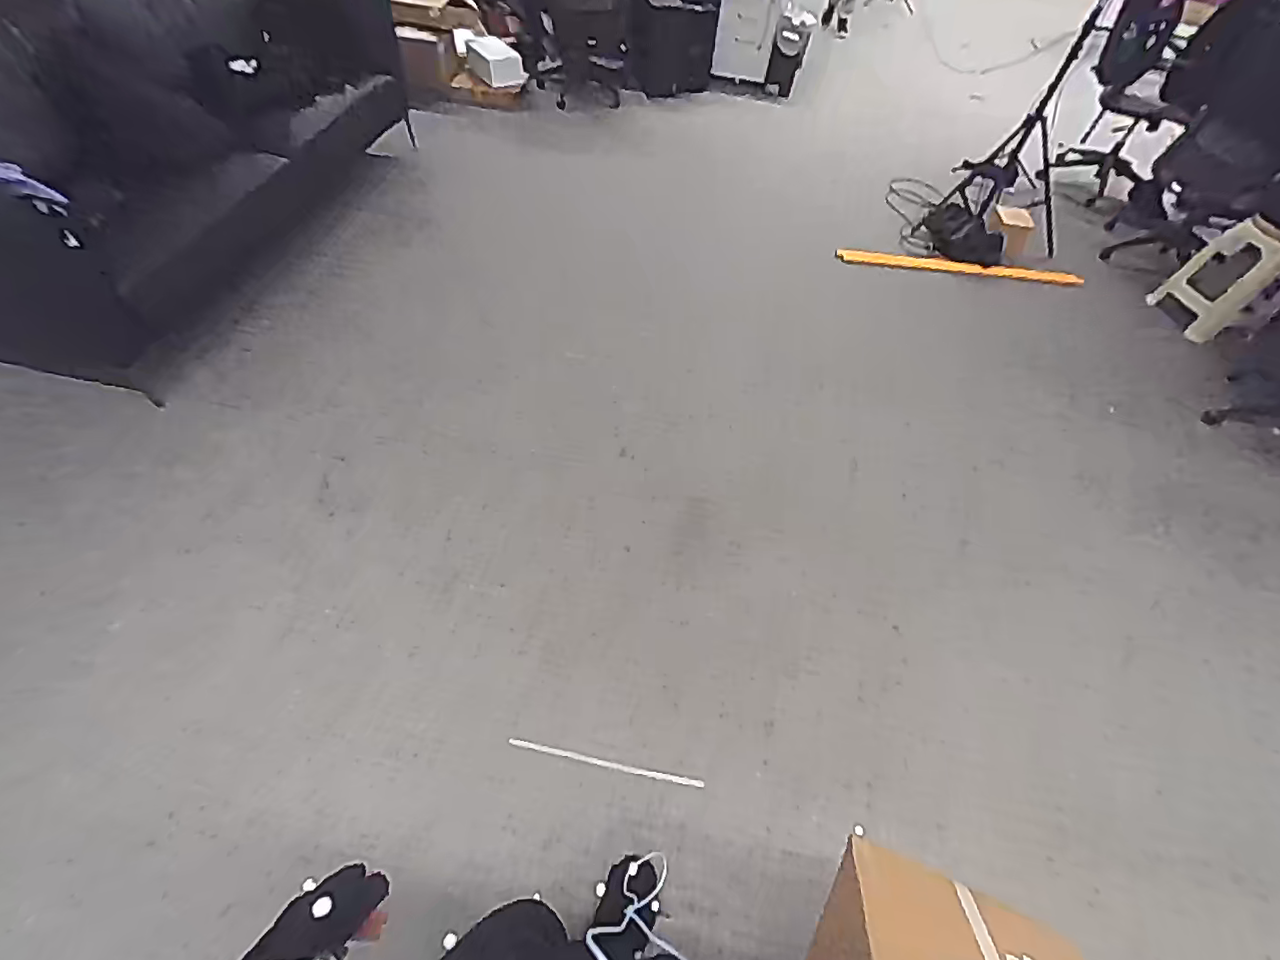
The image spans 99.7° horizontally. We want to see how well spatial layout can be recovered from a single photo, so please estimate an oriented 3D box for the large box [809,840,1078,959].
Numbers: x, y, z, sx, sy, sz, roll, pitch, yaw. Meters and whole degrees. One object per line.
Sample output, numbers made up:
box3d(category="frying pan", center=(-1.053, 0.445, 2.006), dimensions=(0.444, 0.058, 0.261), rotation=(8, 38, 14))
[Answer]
box3d(category="large box", center=(0.374, 0.751, 0.630), dimensions=(0.320, 0.408, 0.320), rotation=(20, 95, 15))
